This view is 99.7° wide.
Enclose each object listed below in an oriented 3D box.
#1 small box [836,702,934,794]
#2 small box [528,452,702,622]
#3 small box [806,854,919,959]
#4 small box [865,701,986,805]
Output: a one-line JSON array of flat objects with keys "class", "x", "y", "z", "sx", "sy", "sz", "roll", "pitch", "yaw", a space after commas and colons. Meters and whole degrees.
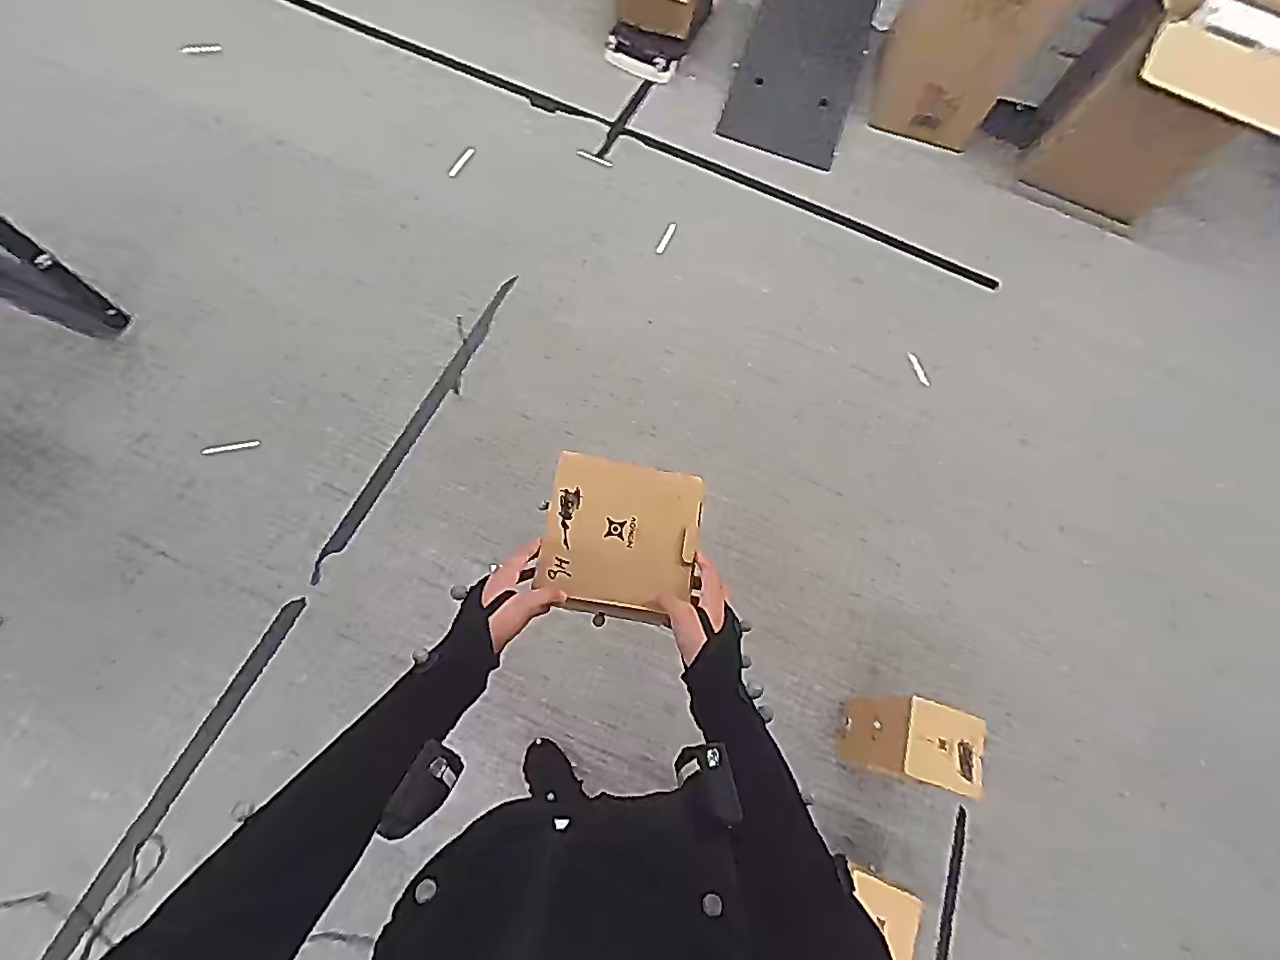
[{"class": "small box", "x": 0.636, "y": 0.681, "z": 1.395, "sx": 0.179, "sy": 0.176, "sz": 0.168, "roll": 18, "pitch": 68, "yaw": 0}, {"class": "small box", "x": -0.036, "y": 0.083, "z": 0.683, "sx": 0.179, "sy": 0.176, "sz": 0.168, "roll": 12, "pitch": 71, "yaw": -6}, {"class": "small box", "x": 0.509, "y": 1.013, "z": 1.256, "sx": 0.168, "sy": 0.176, "sz": 0.179, "roll": 25, "pitch": 70, "yaw": 3}, {"class": "small box", "x": 0.653, "y": 0.616, "z": 1.245, "sx": 0.179, "sy": 0.176, "sz": 0.168, "roll": 20, "pitch": 68, "yaw": 1}]
